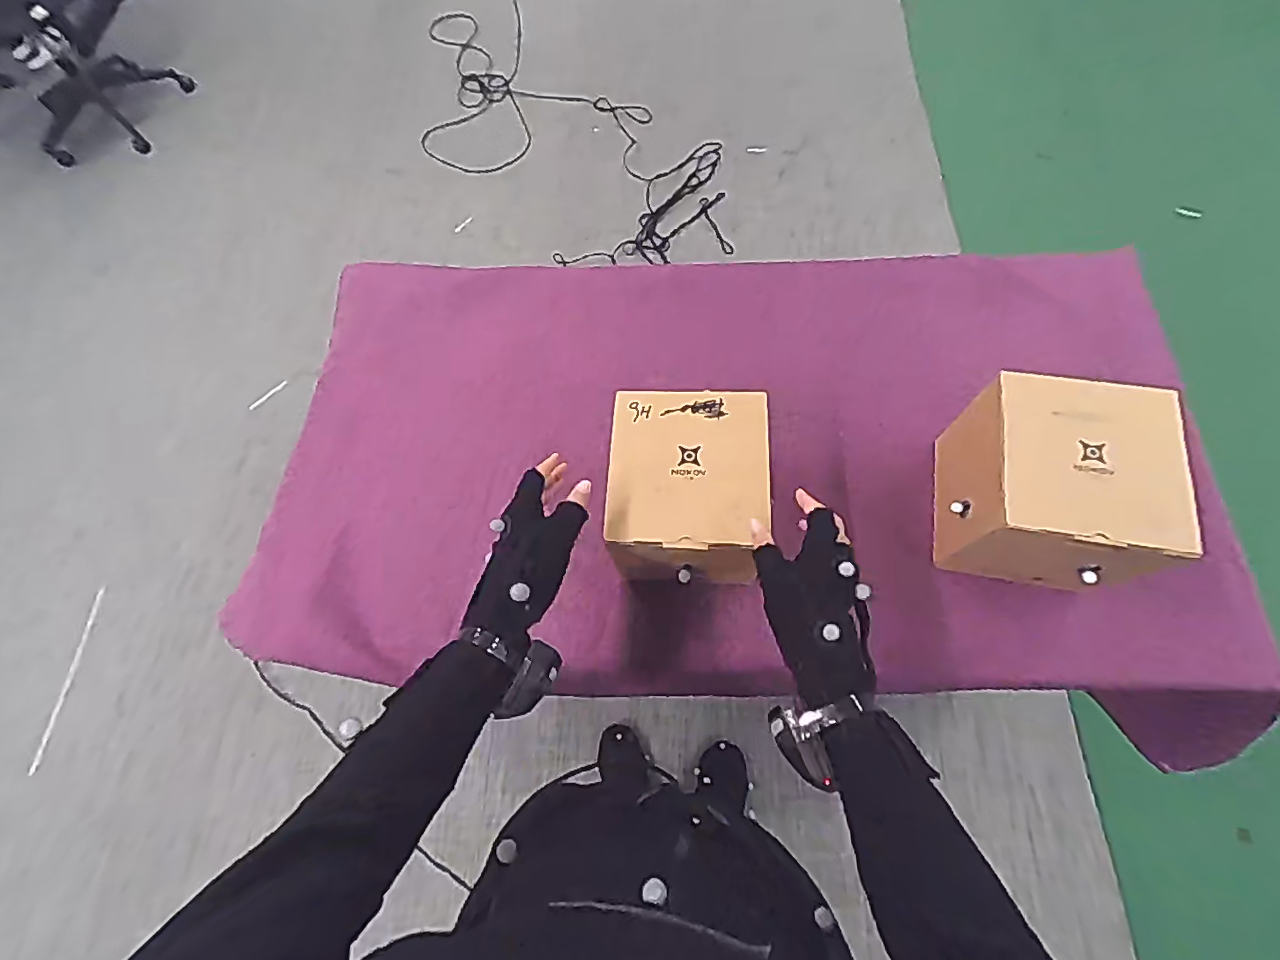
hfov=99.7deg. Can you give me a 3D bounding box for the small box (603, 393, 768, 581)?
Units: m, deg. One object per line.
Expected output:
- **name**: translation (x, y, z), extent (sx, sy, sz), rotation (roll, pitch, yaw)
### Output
- **small box**: translation (0.058, 0.016, 0.630), extent (0.168, 0.176, 0.179), rotation (2, 68, 6)

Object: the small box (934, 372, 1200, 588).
- **small box**: translation (0.442, 0.009, 0.594), extent (0.168, 0.176, 0.179), rotation (10, 69, 9)
